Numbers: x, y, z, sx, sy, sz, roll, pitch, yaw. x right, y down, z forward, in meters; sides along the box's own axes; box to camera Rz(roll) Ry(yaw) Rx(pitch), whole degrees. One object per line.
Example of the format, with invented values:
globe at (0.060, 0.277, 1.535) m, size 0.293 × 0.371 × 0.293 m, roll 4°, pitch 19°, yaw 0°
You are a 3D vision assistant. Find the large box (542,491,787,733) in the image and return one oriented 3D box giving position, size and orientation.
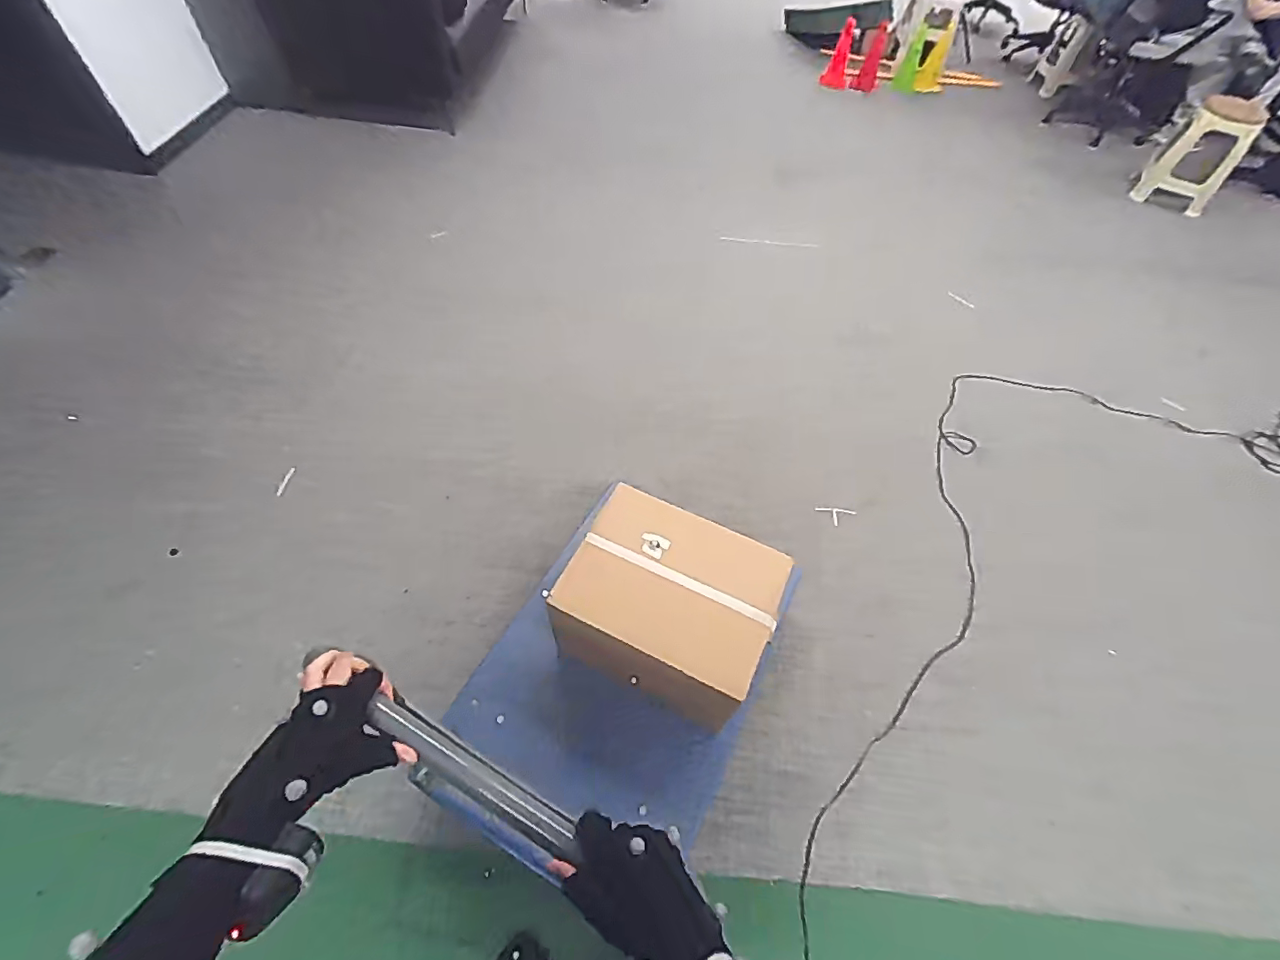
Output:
large box at (0.054, 0.291, 1.179) m, size 0.408 × 0.320 × 0.320 m, roll 23°, pitch 56°, yaw 14°
